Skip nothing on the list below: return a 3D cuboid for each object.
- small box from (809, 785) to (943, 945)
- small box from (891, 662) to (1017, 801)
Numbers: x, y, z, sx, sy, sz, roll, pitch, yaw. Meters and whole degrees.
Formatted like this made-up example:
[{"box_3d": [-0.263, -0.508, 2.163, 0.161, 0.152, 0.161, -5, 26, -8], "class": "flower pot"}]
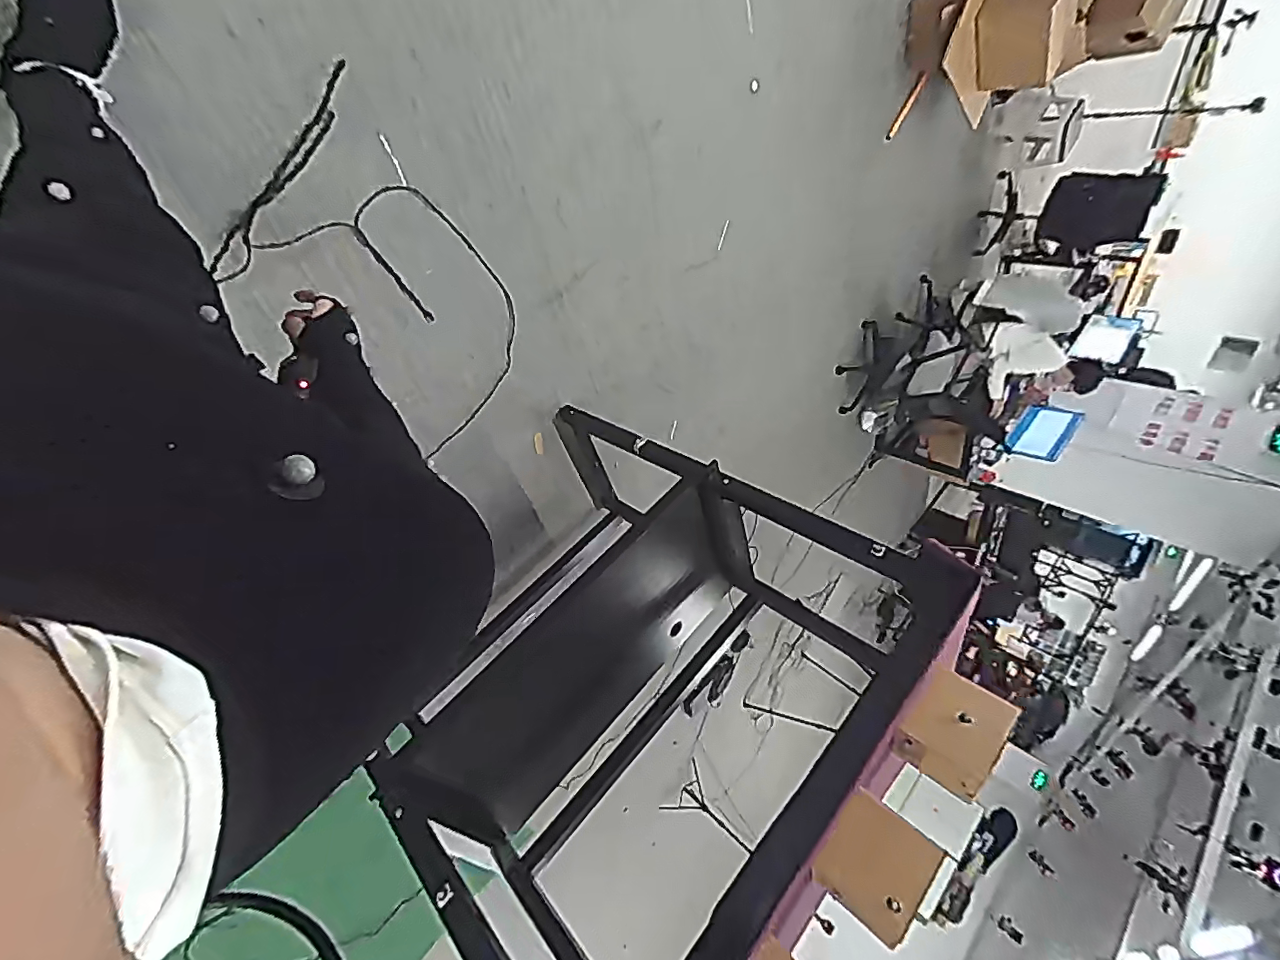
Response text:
[{"box_3d": [0.441, 0.724, 1.028, 0.179, 0.176, 0.168, -43, 138, -22], "class": "small box"}, {"box_3d": [0.650, 0.524, 1.138, 0.179, 0.176, 0.168, -45, 139, -21], "class": "small box"}]
